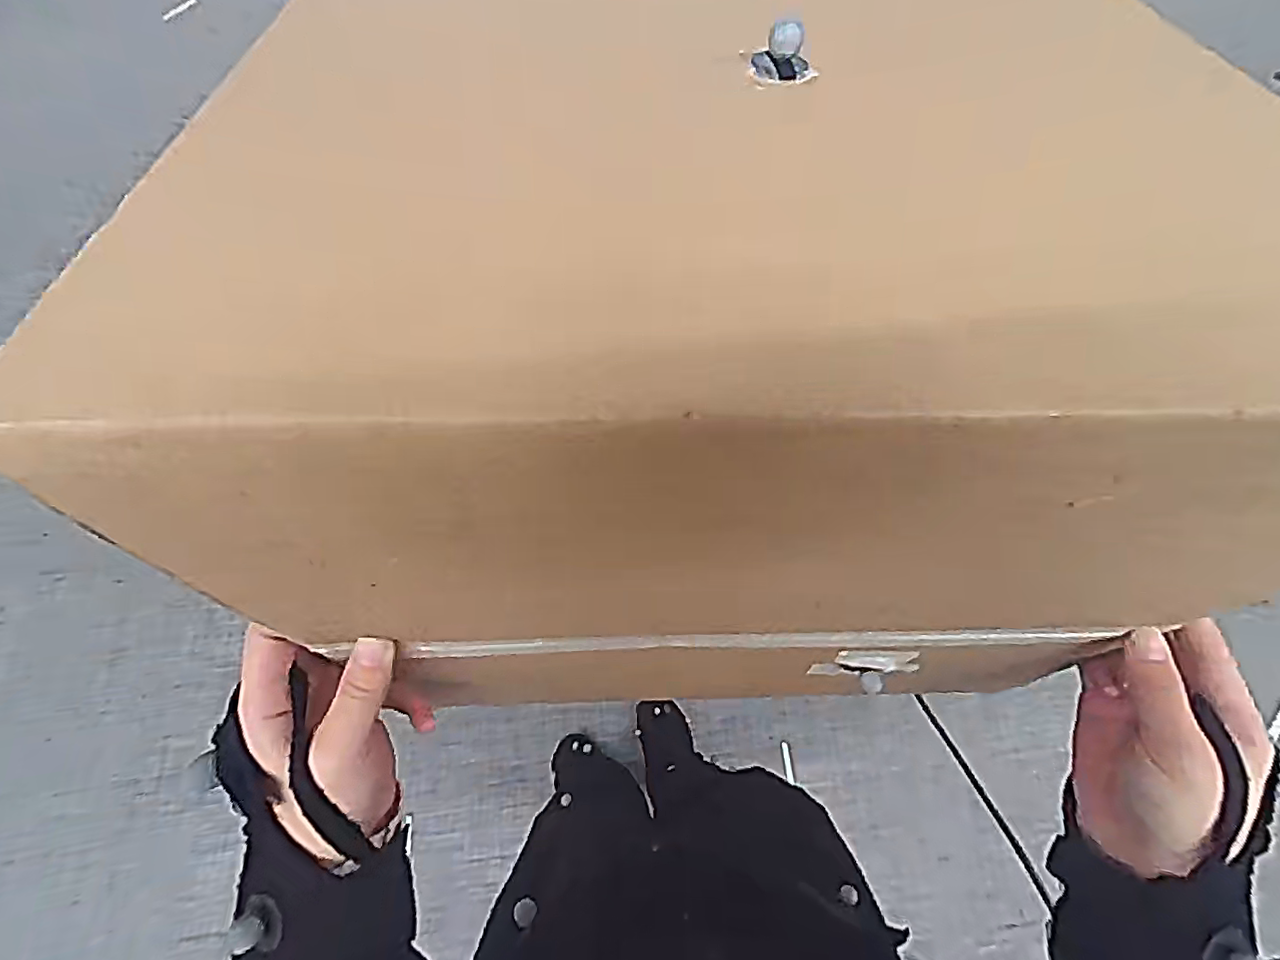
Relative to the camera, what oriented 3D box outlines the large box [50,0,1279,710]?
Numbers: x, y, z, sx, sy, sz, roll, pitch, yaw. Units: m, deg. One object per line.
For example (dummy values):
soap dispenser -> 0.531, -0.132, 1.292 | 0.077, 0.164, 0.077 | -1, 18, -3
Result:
large box -> 0.045, -0.055, 0.337 | 0.408, 0.320, 0.320 | -2, 58, -2
